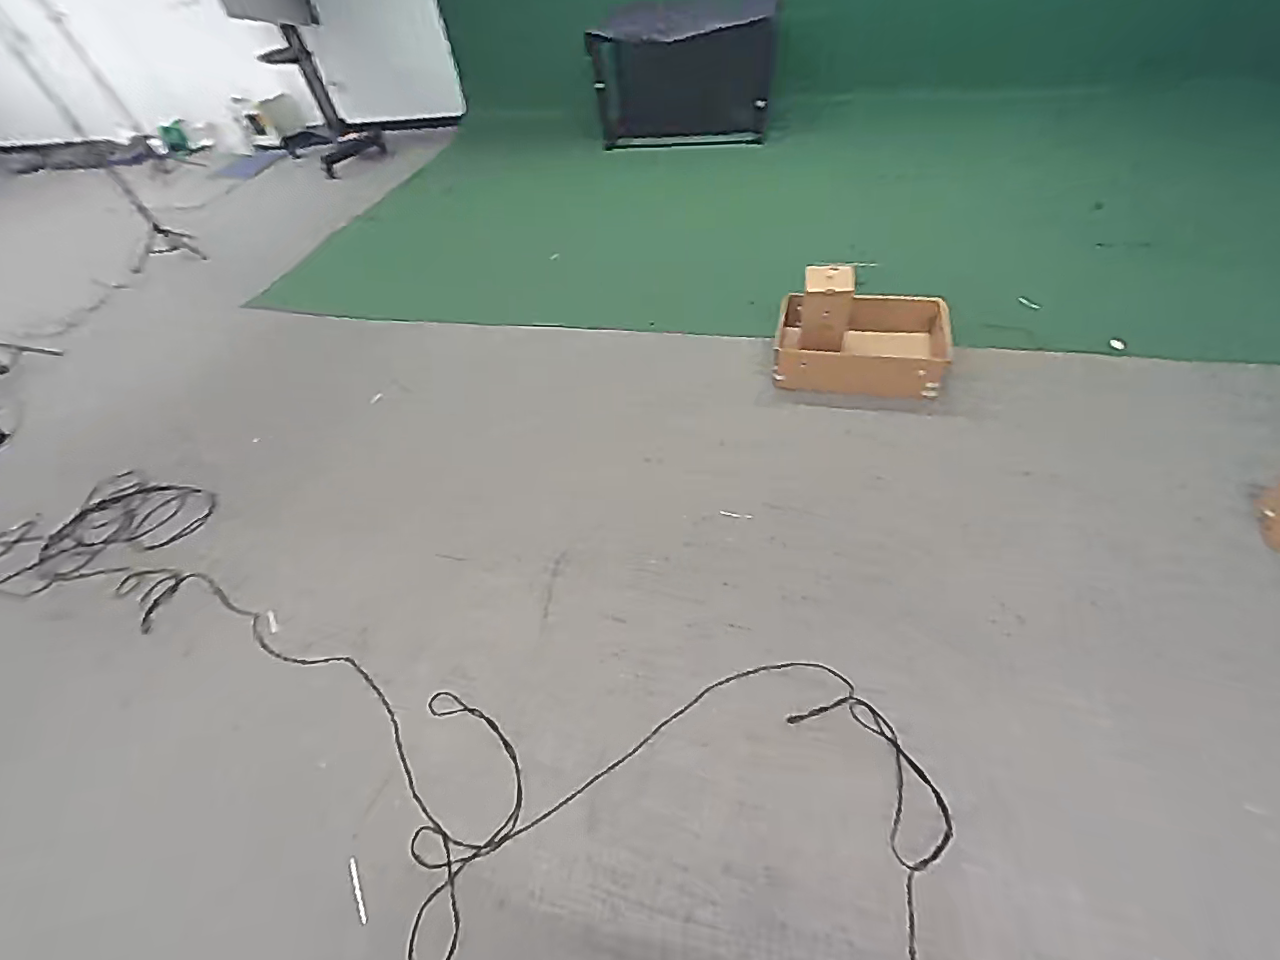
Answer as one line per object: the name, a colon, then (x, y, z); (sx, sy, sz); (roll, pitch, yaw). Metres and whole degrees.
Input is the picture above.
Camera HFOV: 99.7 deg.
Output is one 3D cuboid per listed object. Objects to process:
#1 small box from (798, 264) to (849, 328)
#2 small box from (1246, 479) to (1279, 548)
small box: (0.690, -0.690, 2.041); (0.168, 0.176, 0.179); (5, 52, 13)
small box: (1.852, 0.091, 1.483); (0.179, 0.176, 0.168); (11, 52, 18)
